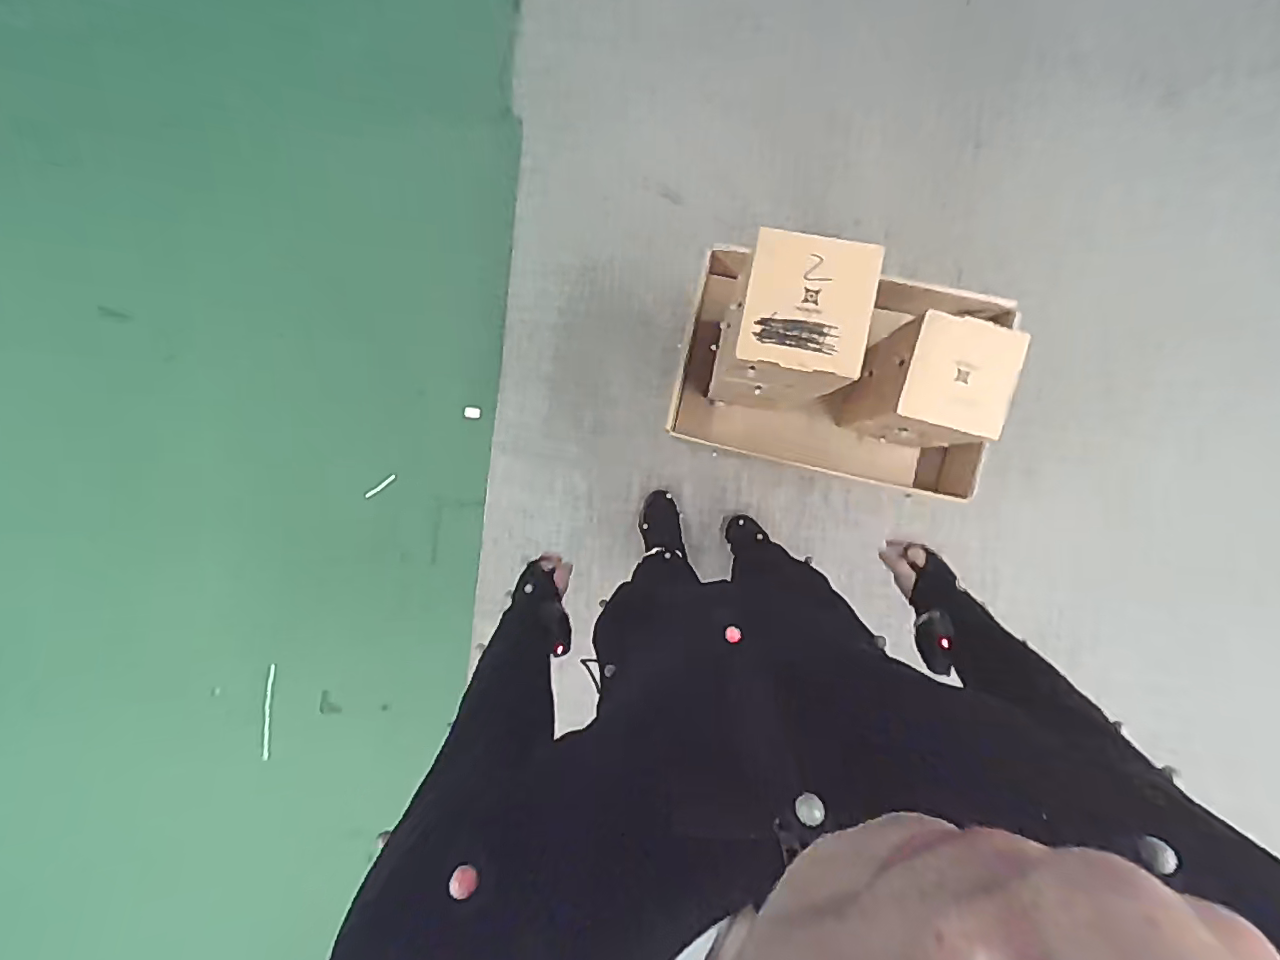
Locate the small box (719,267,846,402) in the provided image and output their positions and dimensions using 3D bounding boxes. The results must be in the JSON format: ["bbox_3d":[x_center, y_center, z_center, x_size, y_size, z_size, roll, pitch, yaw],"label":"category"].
[{"bbox_3d":[0.236,-0.243,0.940,0.168,0.176,0.179,10,92,3],"label":"small box"}]

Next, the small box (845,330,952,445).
[{"bbox_3d":[0.534,-0.177,1.085,0.168,0.176,0.179,17,93,4],"label":"small box"}]

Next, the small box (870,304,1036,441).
[{"bbox_3d":[0.517,-0.173,0.922,0.168,0.176,0.179,16,93,4],"label":"small box"}]
